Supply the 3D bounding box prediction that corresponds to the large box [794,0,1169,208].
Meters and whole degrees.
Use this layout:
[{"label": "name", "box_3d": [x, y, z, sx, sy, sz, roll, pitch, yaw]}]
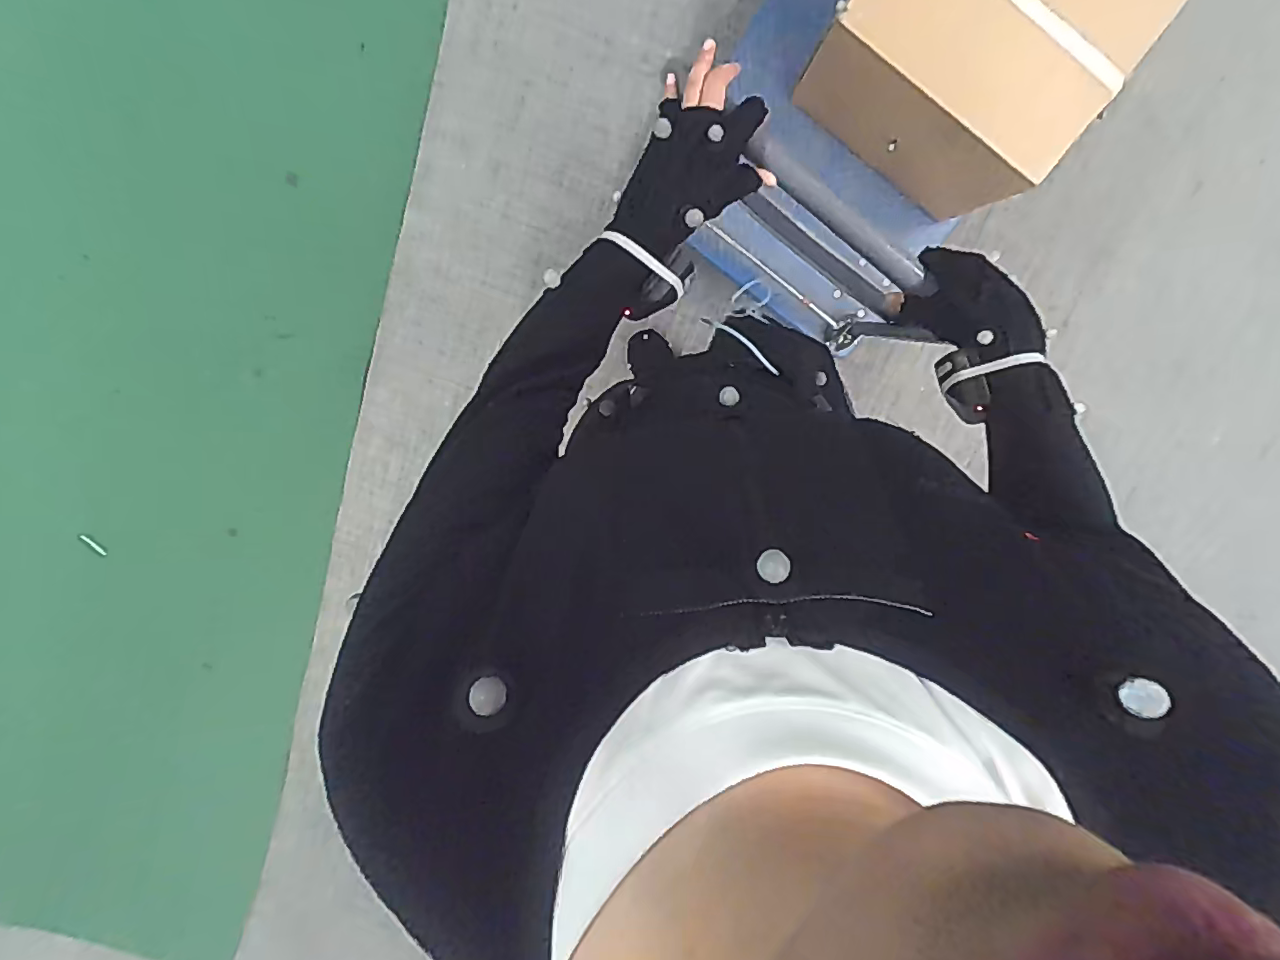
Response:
[{"label": "large box", "box_3d": [0.543, -0.744, 0.931, 0.408, 0.320, 0.320, 33, 105, -6]}]
